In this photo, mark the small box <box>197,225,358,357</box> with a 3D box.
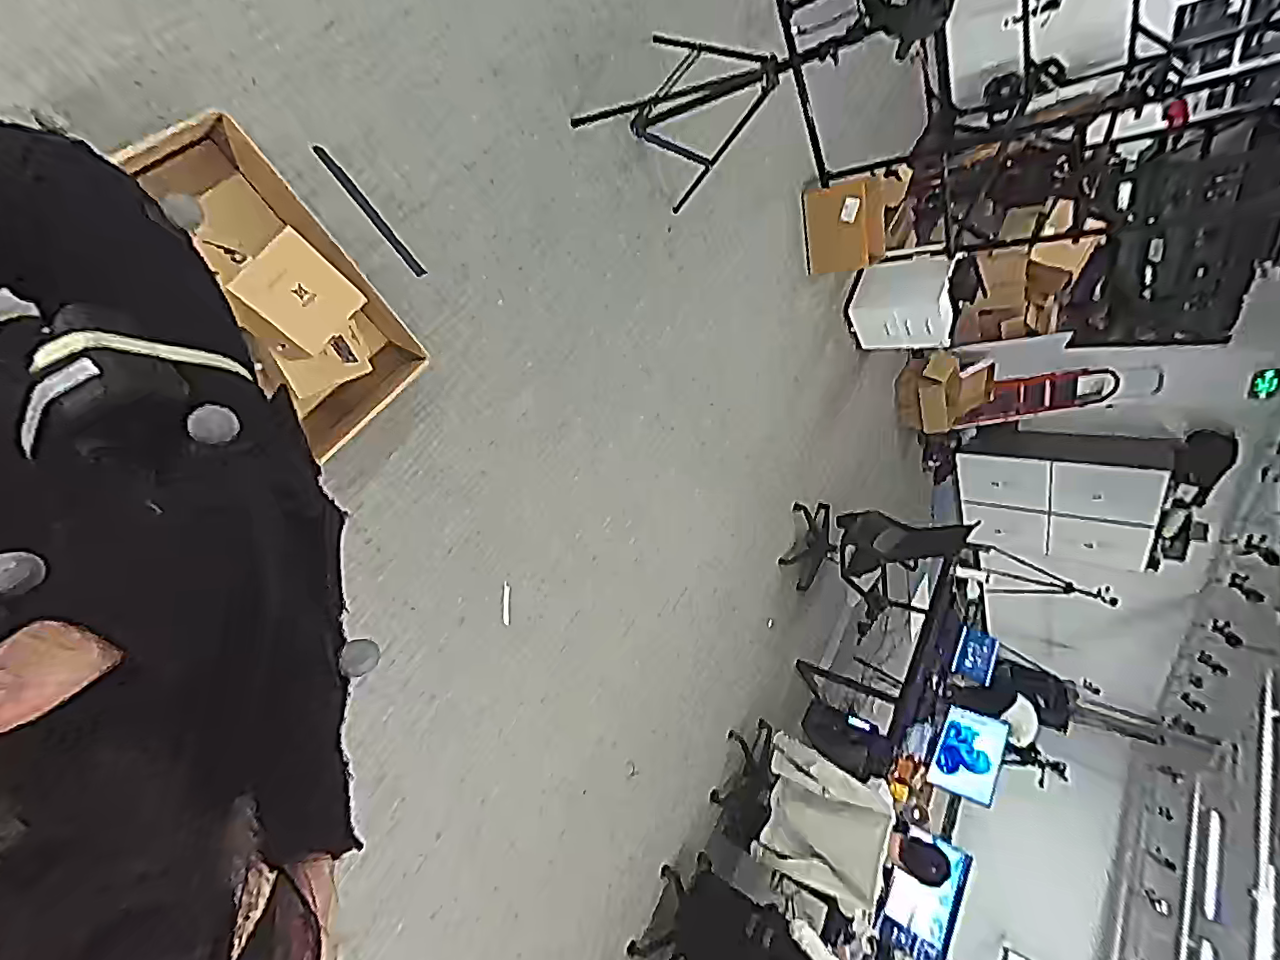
[{"bbox_3d":[-0.701,-0.357,1.048,0.179,0.176,0.168,48,60,-41],"label":"small box"}]
